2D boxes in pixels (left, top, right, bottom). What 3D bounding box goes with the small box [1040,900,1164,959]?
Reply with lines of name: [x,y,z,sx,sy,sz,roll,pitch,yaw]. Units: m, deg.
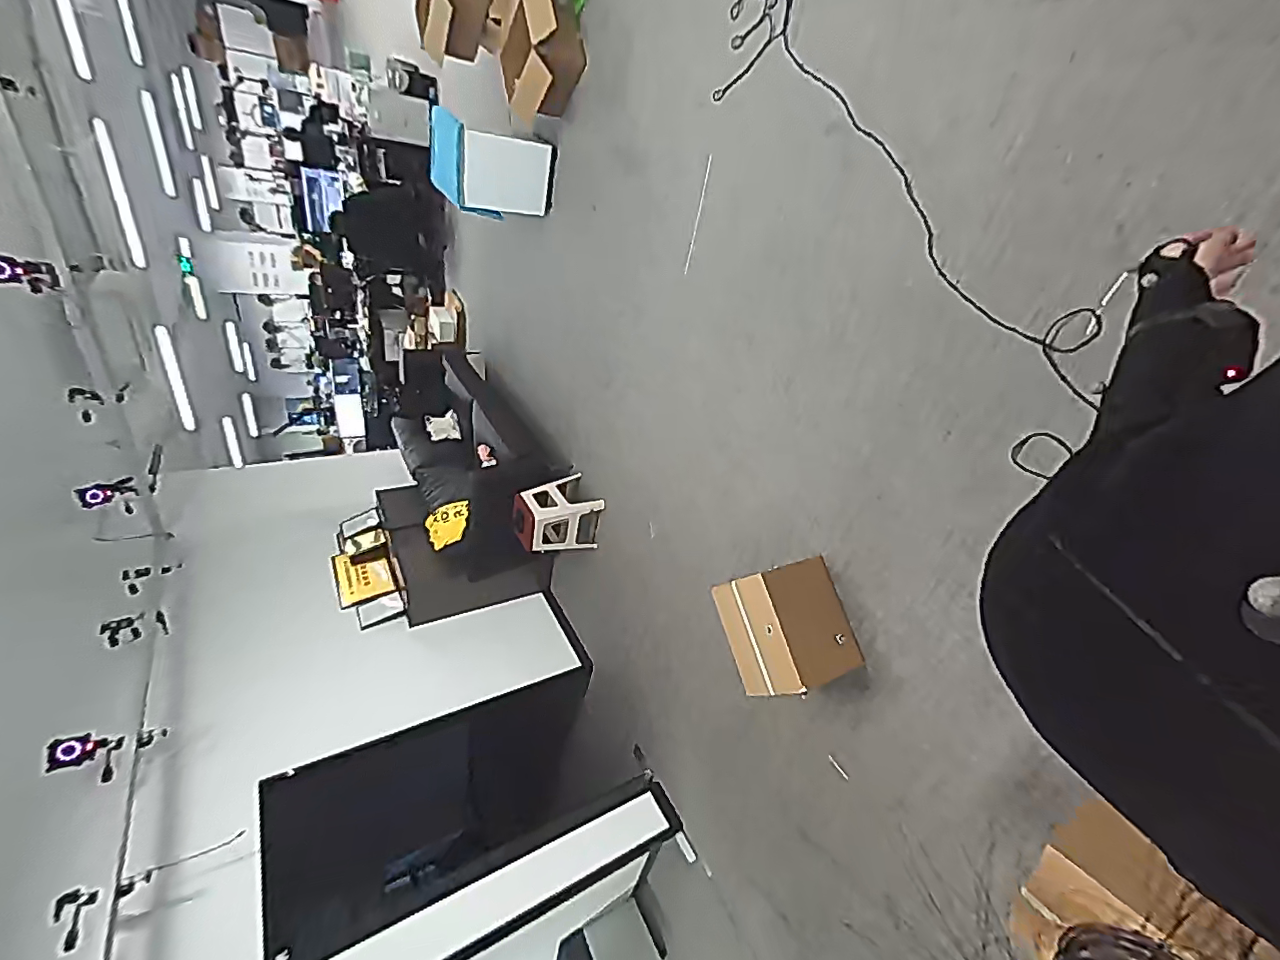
small box: [0.904,0.981,1.047,0.179,0.176,0.168,38,128,49]

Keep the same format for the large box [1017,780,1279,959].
large box: [1.127,0.954,1.150,0.408,0.320,0.320,32,126,50]
